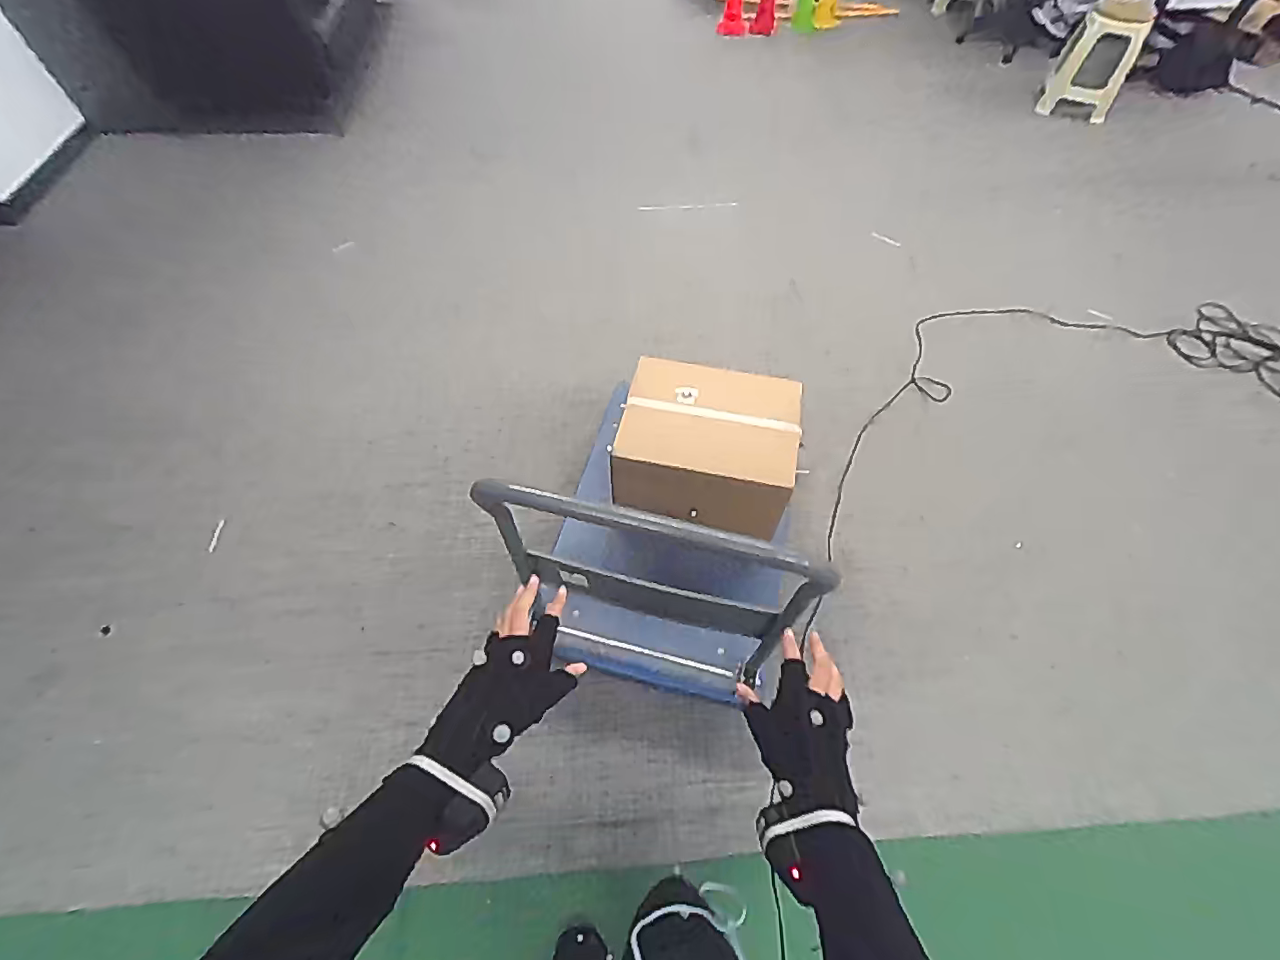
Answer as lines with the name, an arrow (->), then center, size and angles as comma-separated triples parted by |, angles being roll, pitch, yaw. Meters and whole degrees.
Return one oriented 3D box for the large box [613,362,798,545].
large box -> 0.165, -0.061, 1.378 | 0.408, 0.320, 0.320 | 10, 57, 7
